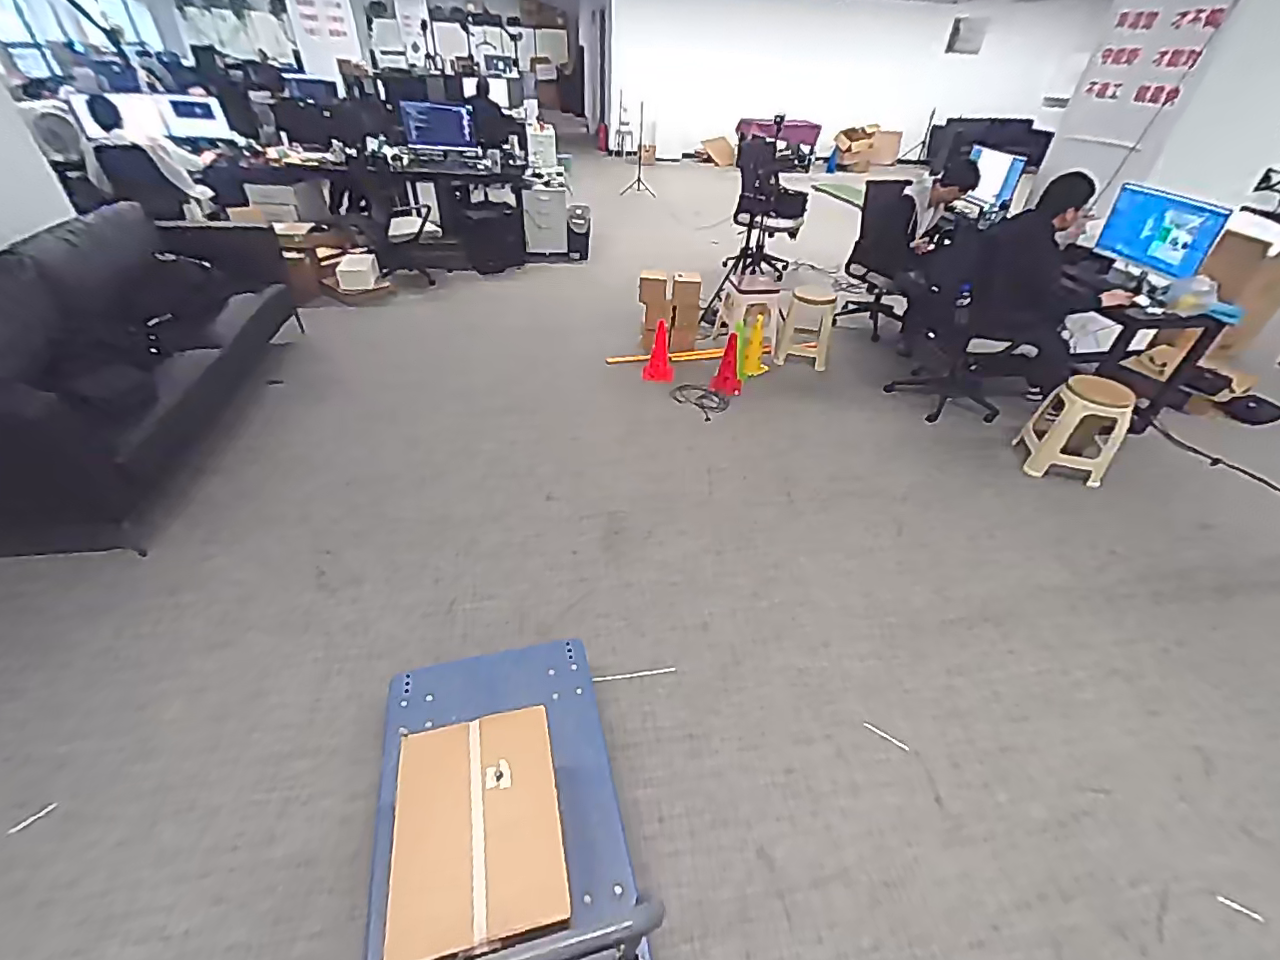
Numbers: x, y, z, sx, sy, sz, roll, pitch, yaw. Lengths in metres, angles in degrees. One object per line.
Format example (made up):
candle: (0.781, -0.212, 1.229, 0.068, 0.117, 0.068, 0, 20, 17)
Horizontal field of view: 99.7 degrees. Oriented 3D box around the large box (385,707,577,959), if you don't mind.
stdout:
large box: (-0.324, 0.778, 1.150, 0.320, 0.320, 0.408, -7, 39, -13)
